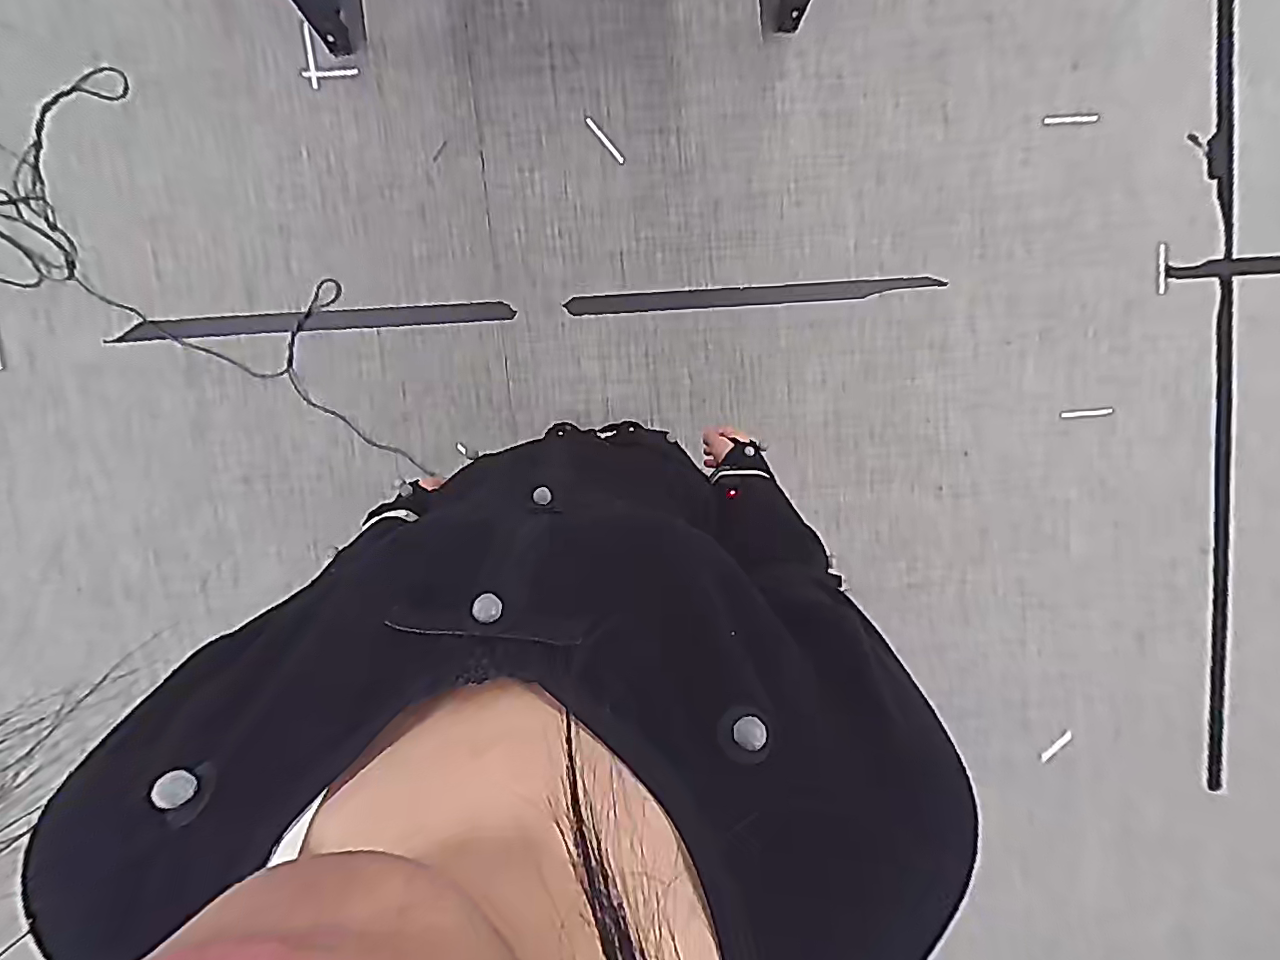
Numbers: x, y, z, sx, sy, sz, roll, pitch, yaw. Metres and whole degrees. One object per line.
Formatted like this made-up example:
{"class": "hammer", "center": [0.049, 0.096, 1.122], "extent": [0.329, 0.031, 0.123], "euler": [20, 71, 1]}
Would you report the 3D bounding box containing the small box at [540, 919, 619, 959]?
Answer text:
{"class": "small box", "center": [-0.132, 1.135, 1.214], "extent": [0.179, 0.176, 0.168], "euler": [-6, 94, -2]}
